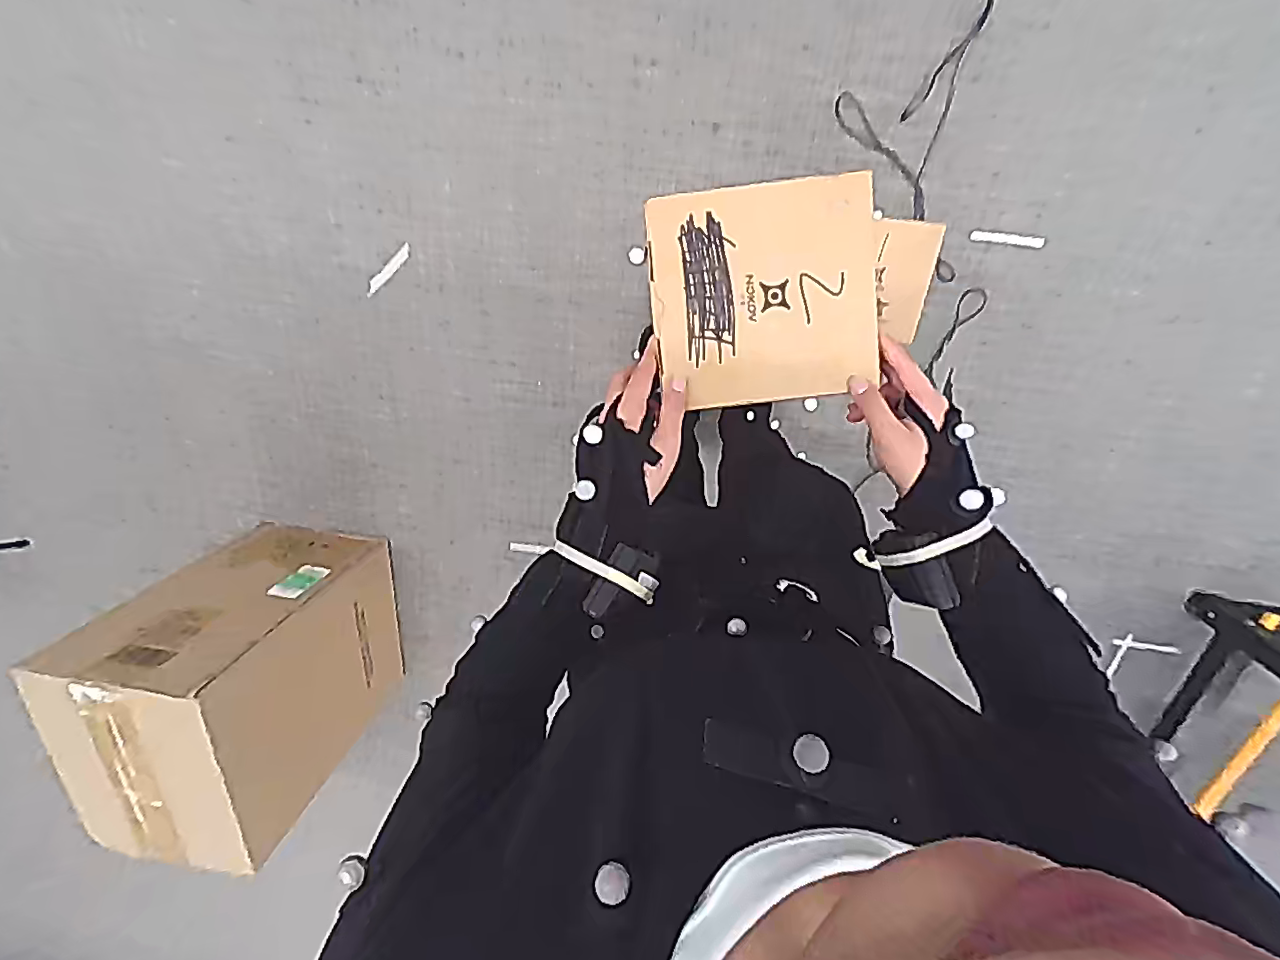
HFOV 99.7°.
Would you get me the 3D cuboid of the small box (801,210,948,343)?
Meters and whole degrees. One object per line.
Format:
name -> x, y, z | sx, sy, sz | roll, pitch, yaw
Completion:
small box -> 0.371, -0.337, 0.894 | 0.168, 0.176, 0.179 | 9, 113, 5
